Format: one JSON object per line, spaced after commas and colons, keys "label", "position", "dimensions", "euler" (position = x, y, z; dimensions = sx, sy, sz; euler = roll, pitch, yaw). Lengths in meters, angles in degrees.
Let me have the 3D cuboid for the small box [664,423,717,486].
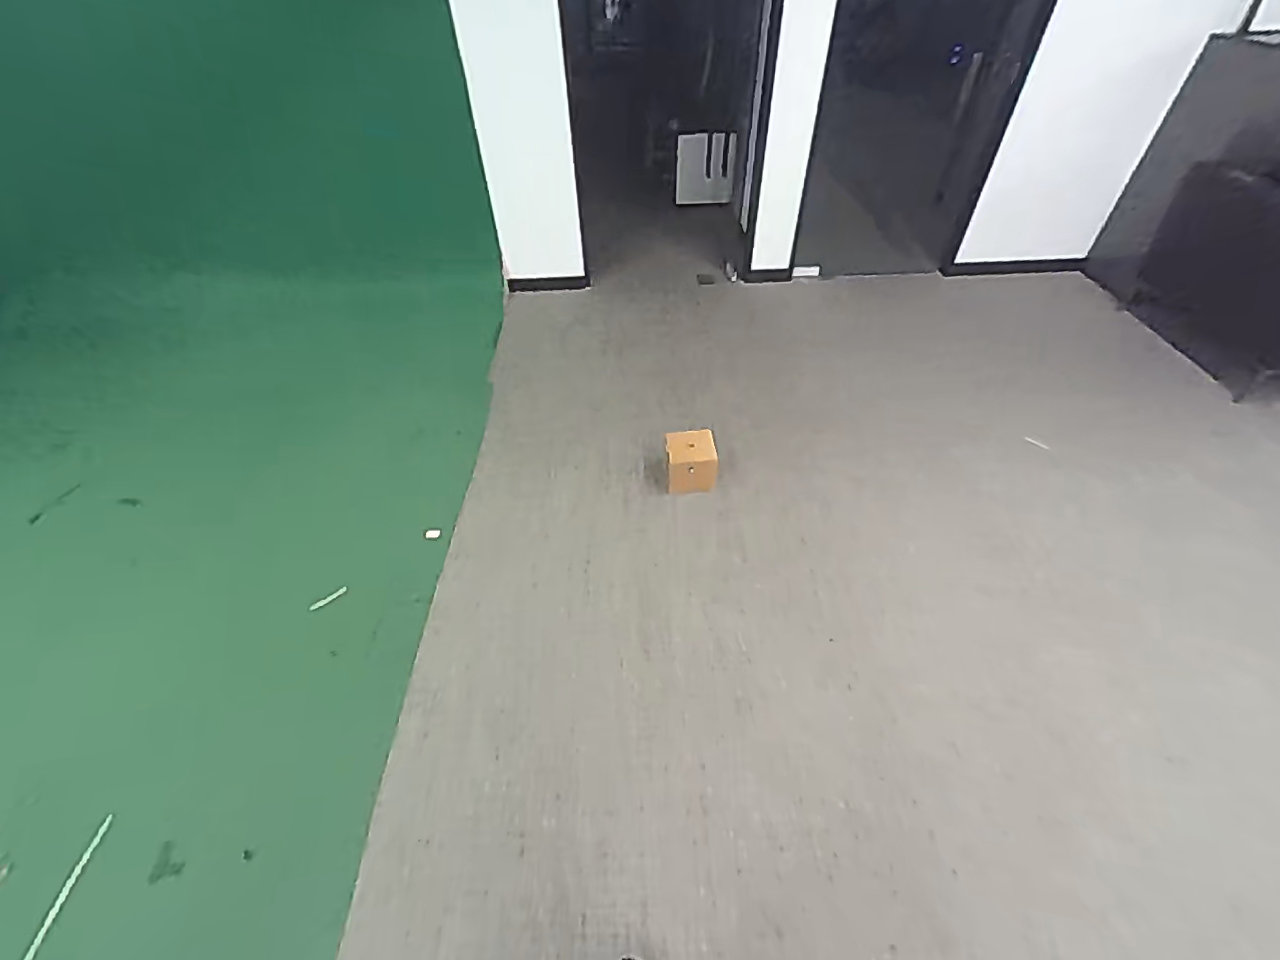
{"label": "small box", "position": [0.186, -0.093, 2.038], "dimensions": [0.179, 0.176, 0.168], "euler": [-5, 47, -2]}
